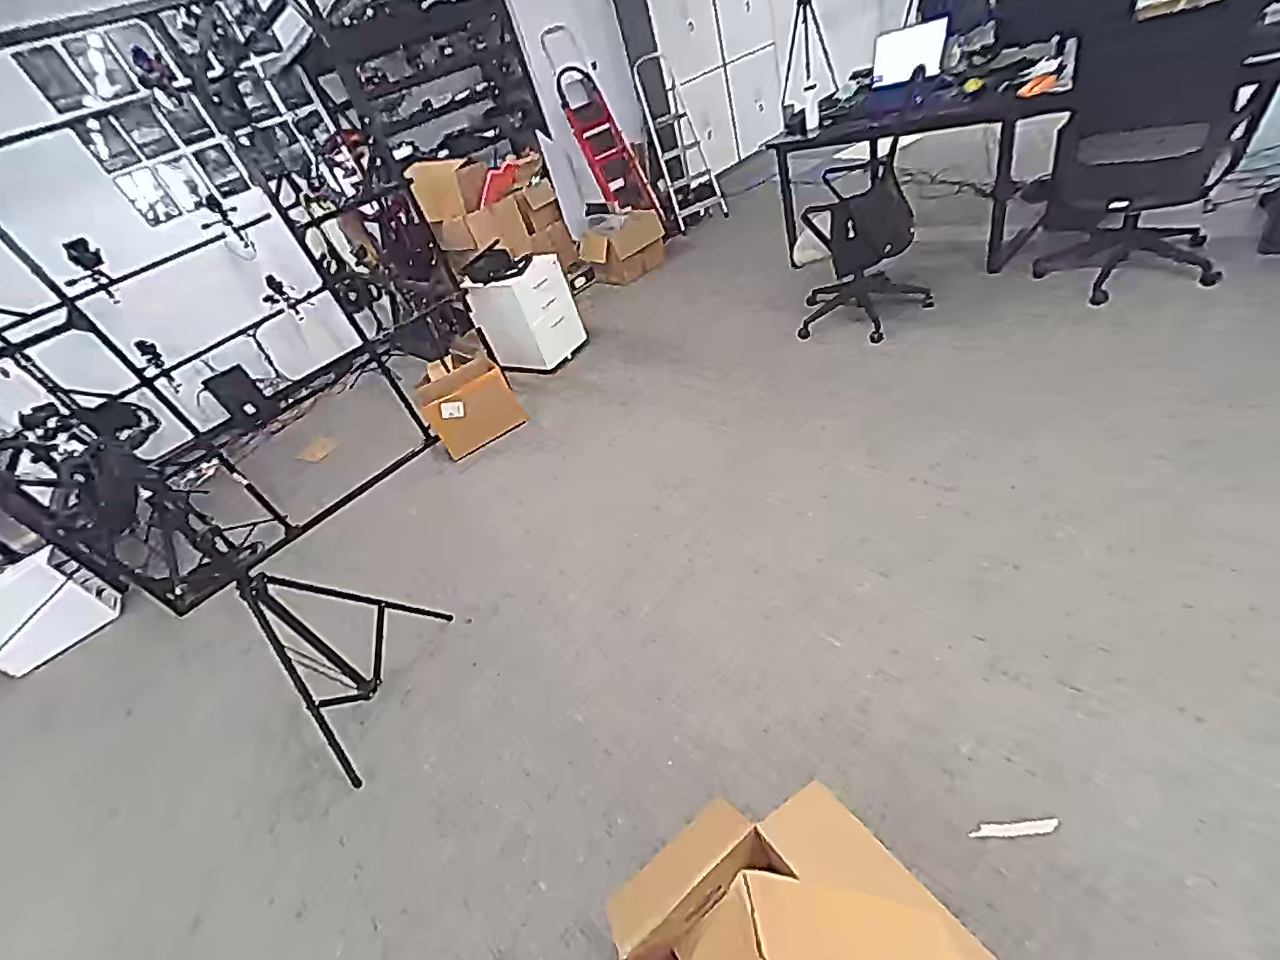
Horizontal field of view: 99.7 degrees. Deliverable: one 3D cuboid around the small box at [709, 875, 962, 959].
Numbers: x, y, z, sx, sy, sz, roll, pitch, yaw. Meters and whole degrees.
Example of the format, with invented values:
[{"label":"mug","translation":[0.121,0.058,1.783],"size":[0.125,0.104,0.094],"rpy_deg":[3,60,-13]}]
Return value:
[{"label":"small box","translation":[0.134,0.418,0.361],"size":[0.179,0.176,0.168],"rpy_deg":[18,15,-9]}]
